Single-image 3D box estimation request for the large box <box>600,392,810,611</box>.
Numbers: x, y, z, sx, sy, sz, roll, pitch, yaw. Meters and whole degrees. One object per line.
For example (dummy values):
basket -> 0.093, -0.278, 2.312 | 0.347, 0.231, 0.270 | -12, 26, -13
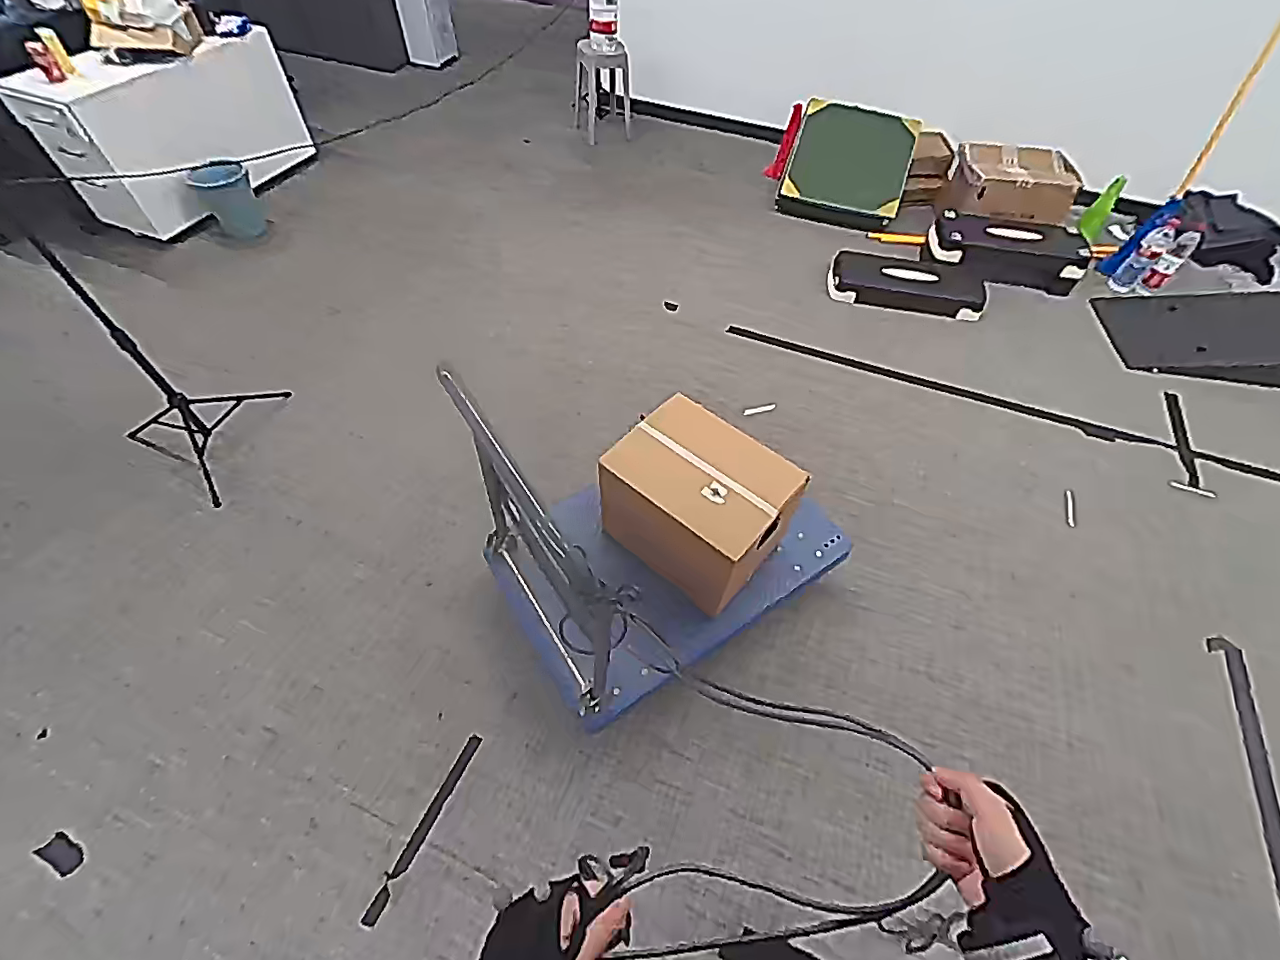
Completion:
large box -> 0.142, 0.054, 1.381 | 0.408, 0.320, 0.320 | 37, 61, 20
